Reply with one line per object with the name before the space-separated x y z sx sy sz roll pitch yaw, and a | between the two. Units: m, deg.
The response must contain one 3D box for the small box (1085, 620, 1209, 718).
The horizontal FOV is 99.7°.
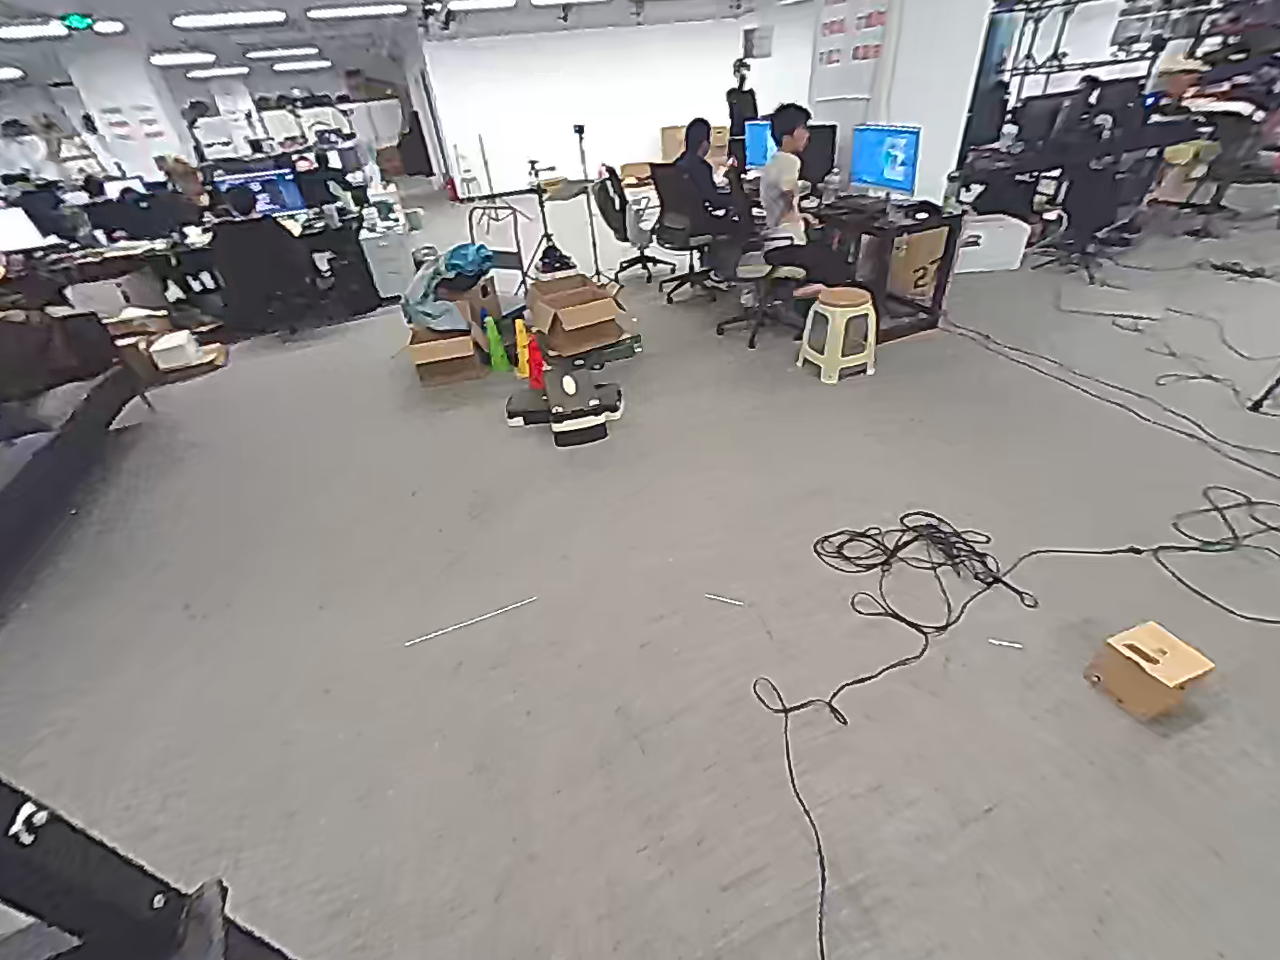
small box | 1.400 0.530 1.511 0.179 0.176 0.168 -15 36 -13
